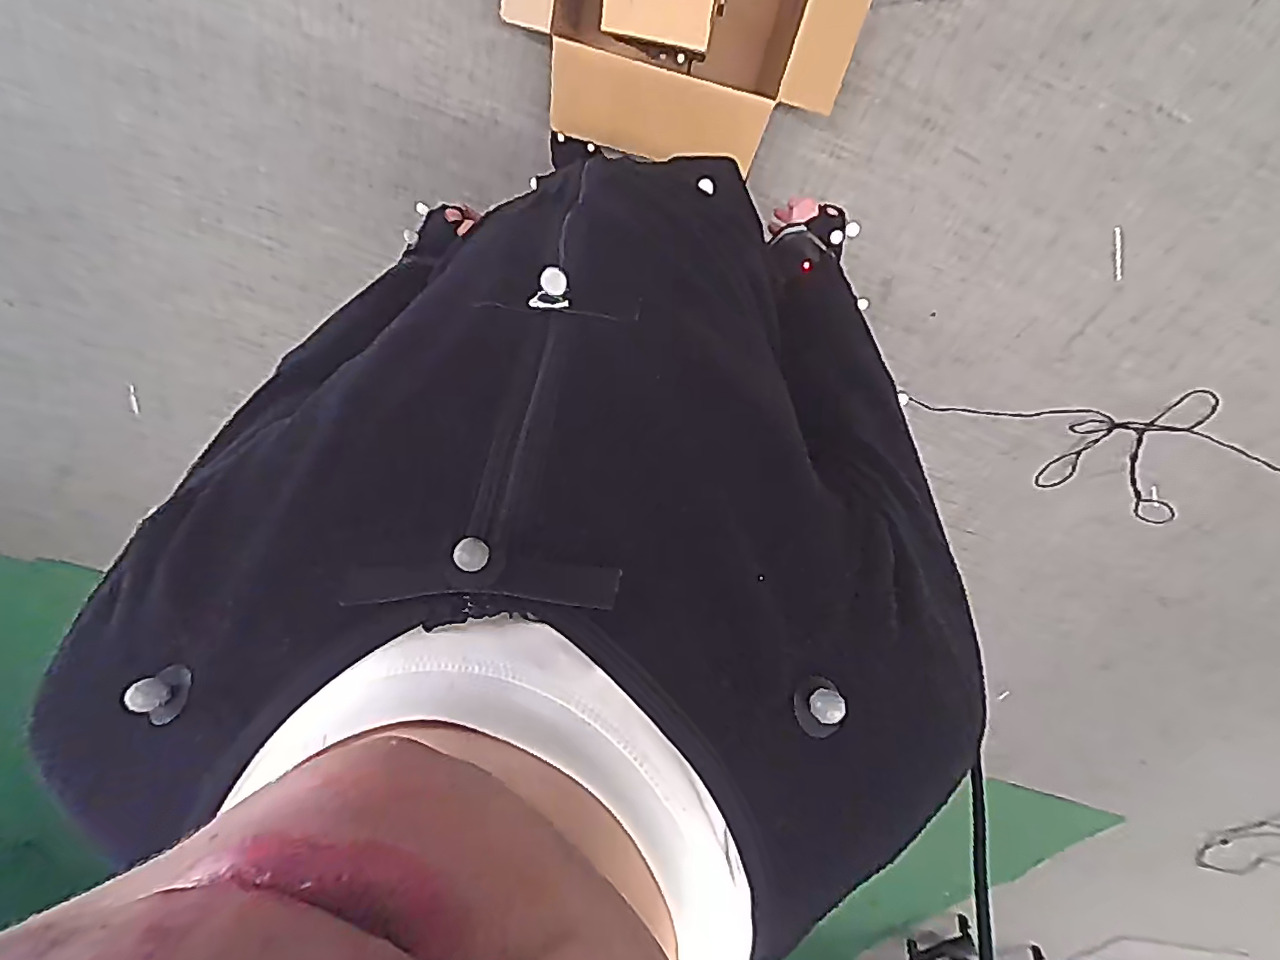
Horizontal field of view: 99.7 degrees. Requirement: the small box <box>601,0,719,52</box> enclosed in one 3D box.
[{"bbox_3d":[0.046,-0.821,0.881,0.179,0.176,0.168,12,123,1],"label":"small box"}]
